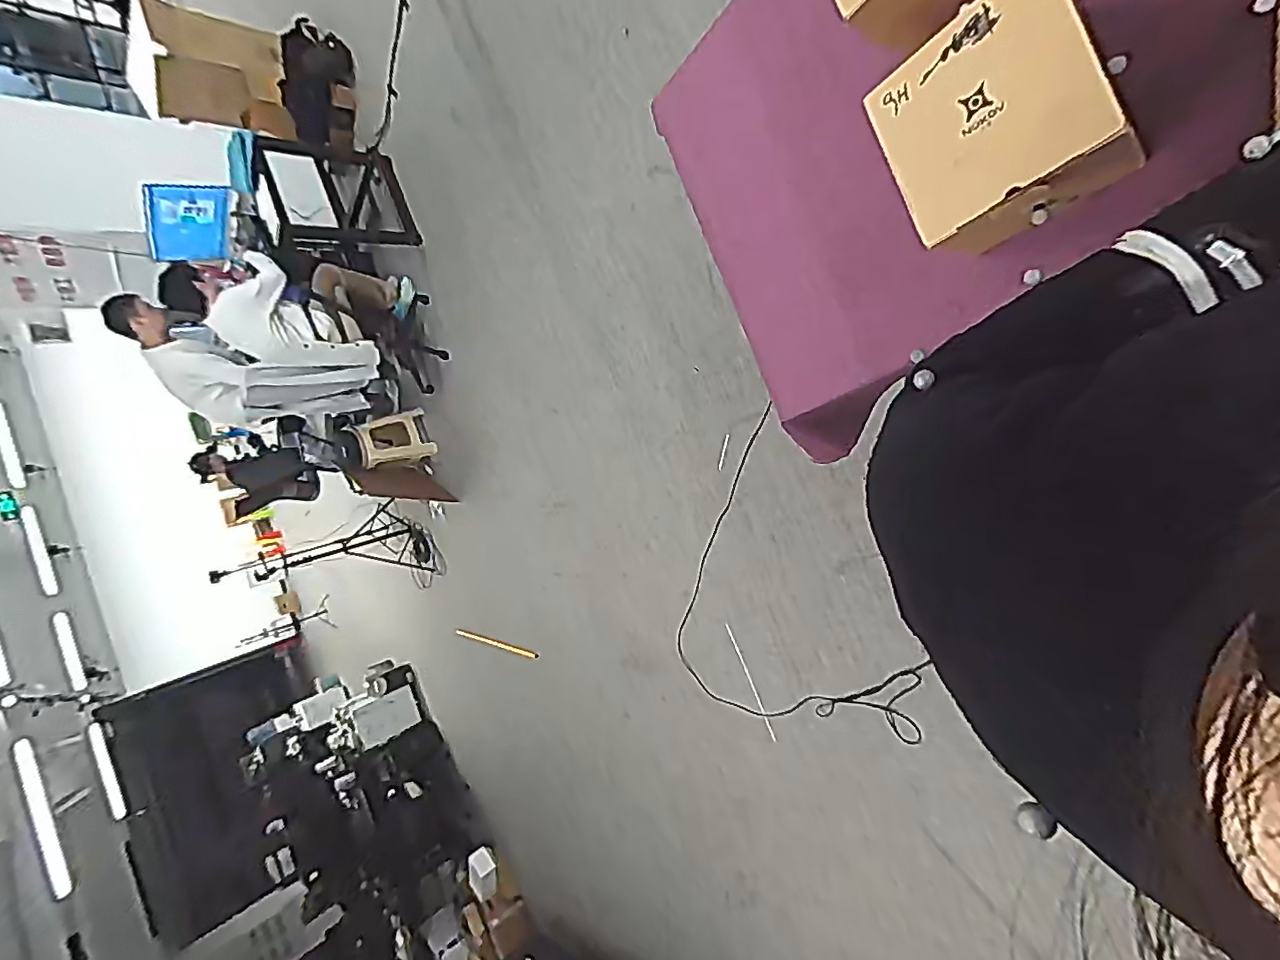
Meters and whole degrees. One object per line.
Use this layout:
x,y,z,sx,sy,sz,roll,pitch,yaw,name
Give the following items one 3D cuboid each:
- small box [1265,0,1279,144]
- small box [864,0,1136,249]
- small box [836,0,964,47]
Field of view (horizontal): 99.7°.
0.550,-0.354,0.360,0.168,0.176,0.179,3,105,47,small box
0.370,-0.361,0.556,0.168,0.176,0.179,-24,86,48,small box
0.288,-0.600,0.561,0.168,0.176,0.179,-25,85,47,small box
